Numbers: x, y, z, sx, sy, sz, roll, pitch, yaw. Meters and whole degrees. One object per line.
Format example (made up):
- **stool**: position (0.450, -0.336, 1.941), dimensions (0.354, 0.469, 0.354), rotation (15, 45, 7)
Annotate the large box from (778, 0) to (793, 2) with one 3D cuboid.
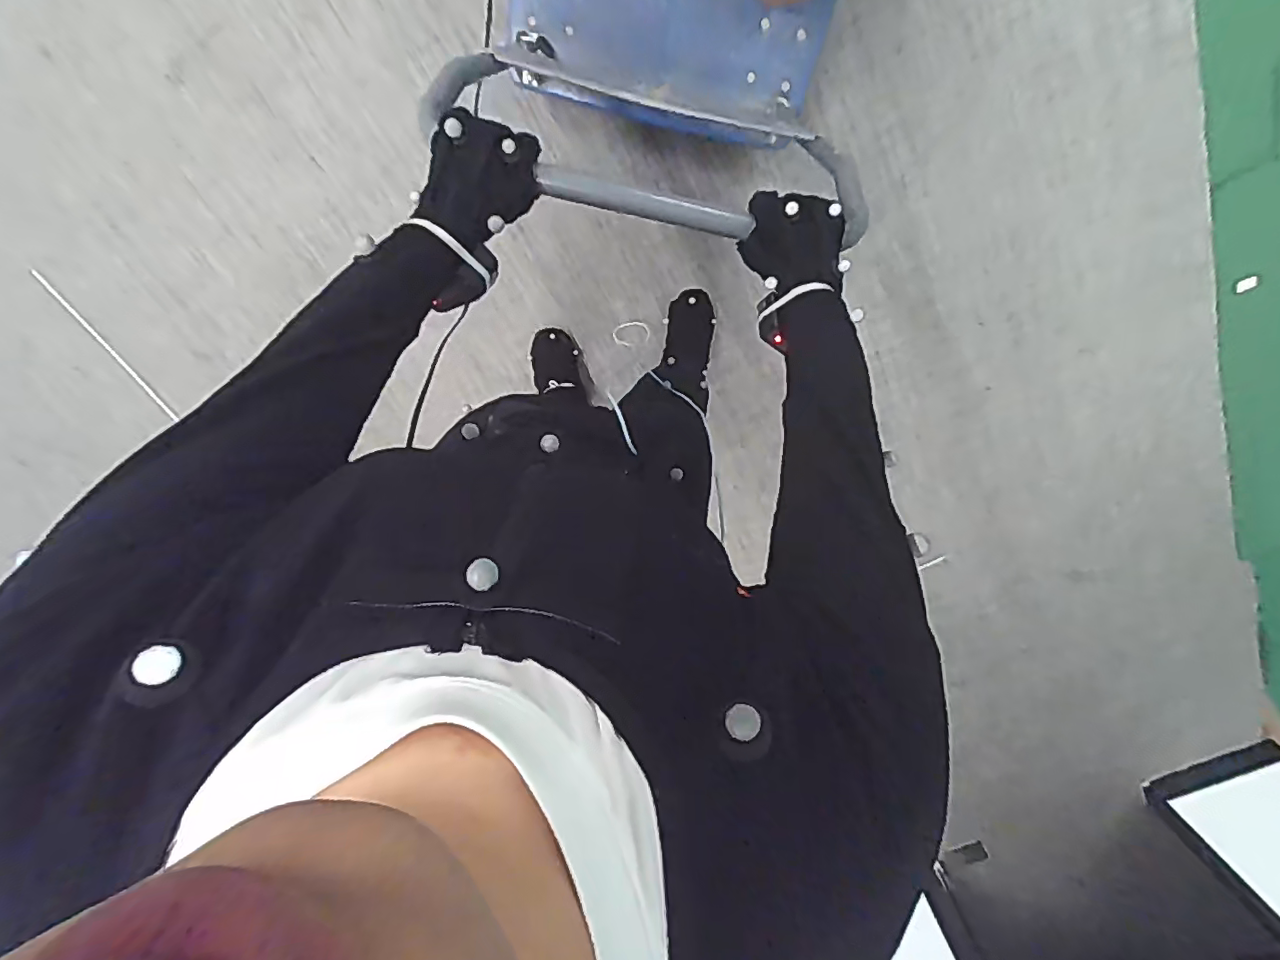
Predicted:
- **large box**: position (0.143, -0.931, 0.716), dimensions (0.408, 0.320, 0.320), rotation (24, 126, -15)
